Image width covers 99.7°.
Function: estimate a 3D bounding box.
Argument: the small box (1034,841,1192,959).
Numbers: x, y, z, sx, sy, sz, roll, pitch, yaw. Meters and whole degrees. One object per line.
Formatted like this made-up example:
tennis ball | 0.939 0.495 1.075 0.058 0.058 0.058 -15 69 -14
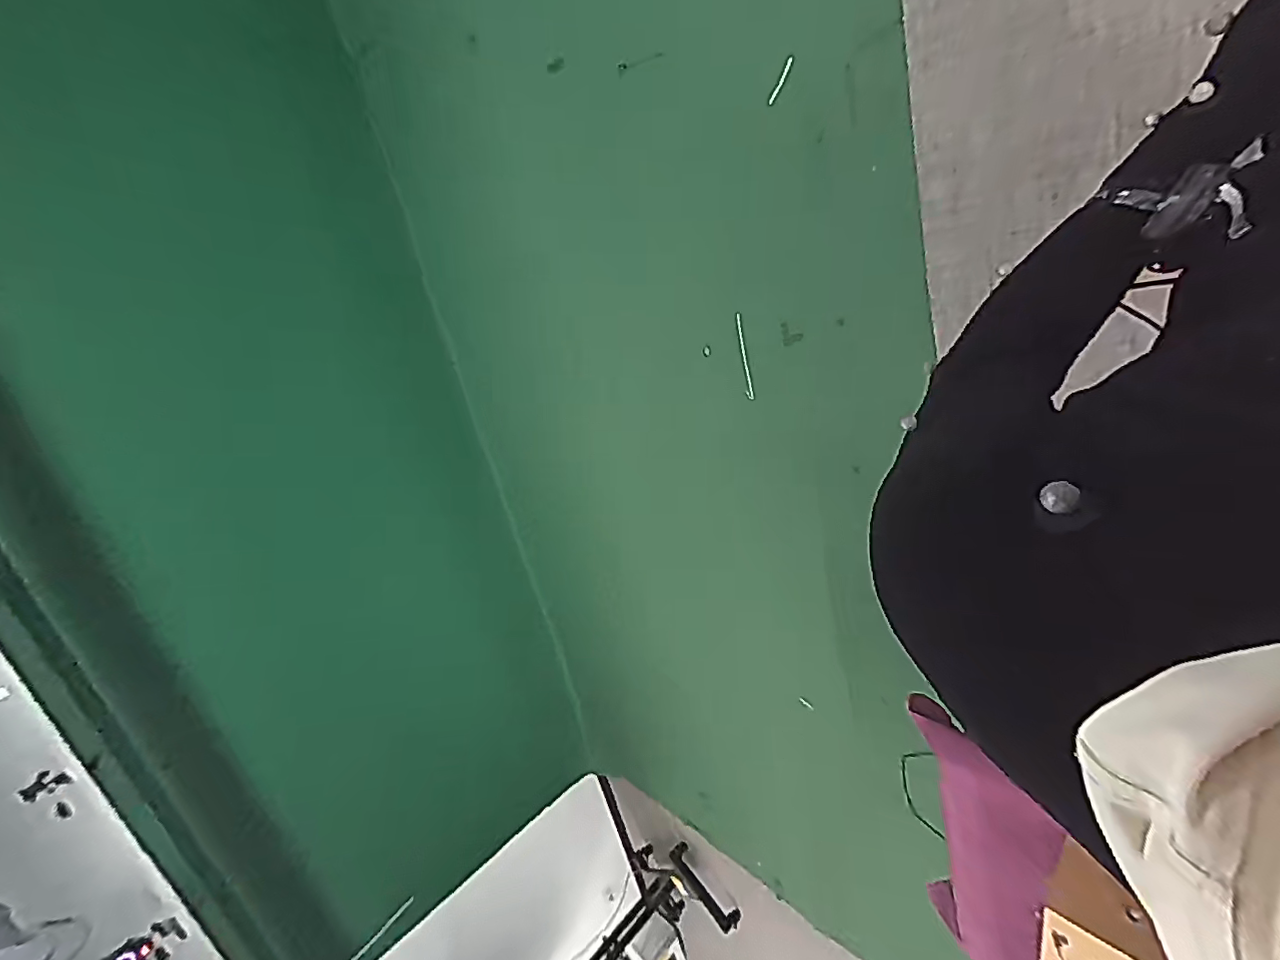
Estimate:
small box | 0.780 0.756 0.896 0.179 0.176 0.168 10 120 45
